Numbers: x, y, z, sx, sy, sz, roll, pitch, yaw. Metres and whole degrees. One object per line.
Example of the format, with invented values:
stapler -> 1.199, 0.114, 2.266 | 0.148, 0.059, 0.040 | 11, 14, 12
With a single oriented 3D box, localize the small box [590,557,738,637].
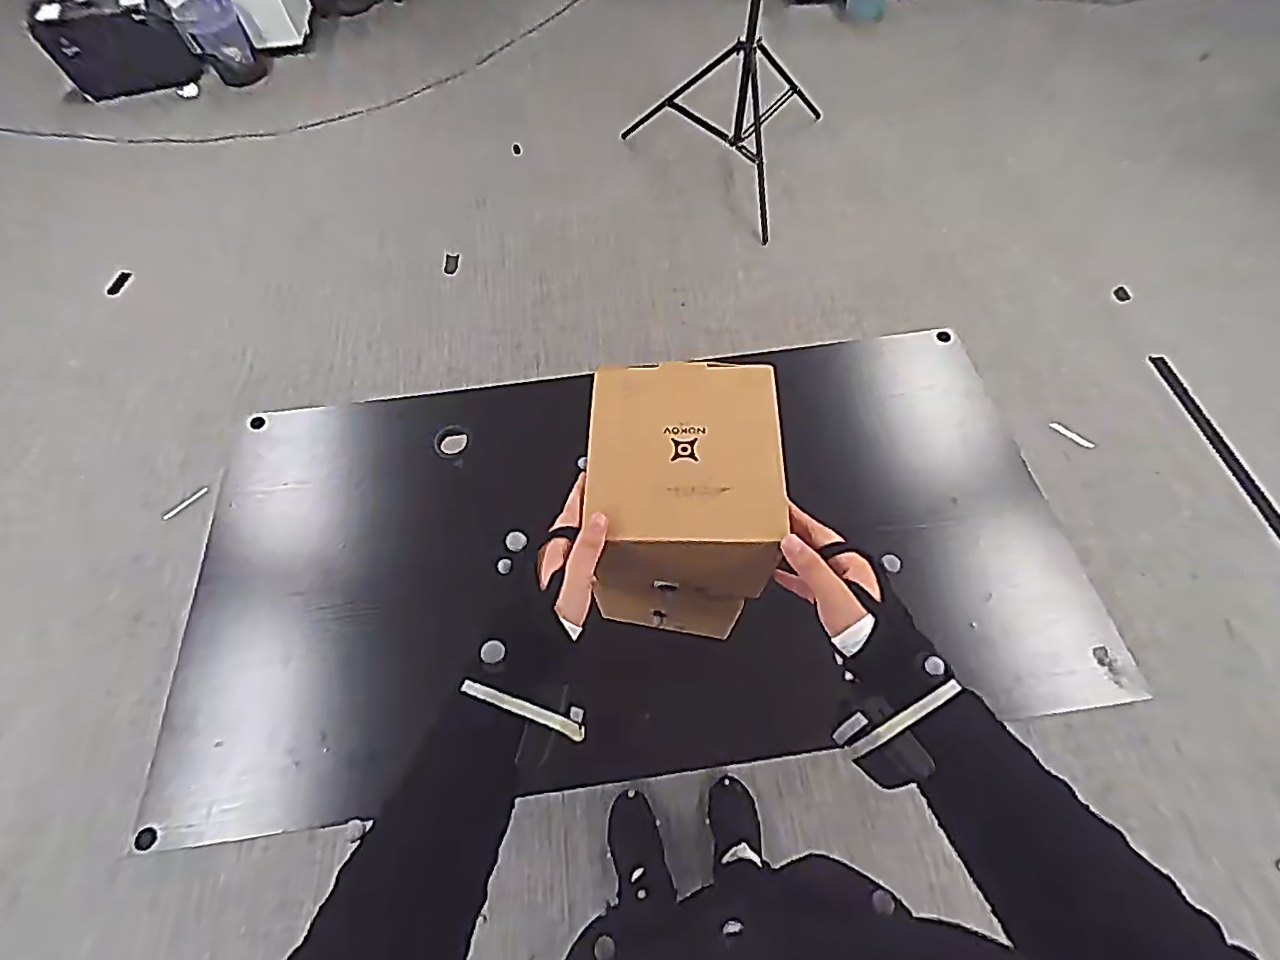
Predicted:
small box -> 0.043, 0.087, 0.685 | 0.168, 0.176, 0.179 | 9, 62, 6

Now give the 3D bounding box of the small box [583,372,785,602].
small box -> 0.040, 0.013, 0.540 | 0.168, 0.176, 0.179 | 0, 64, 3
